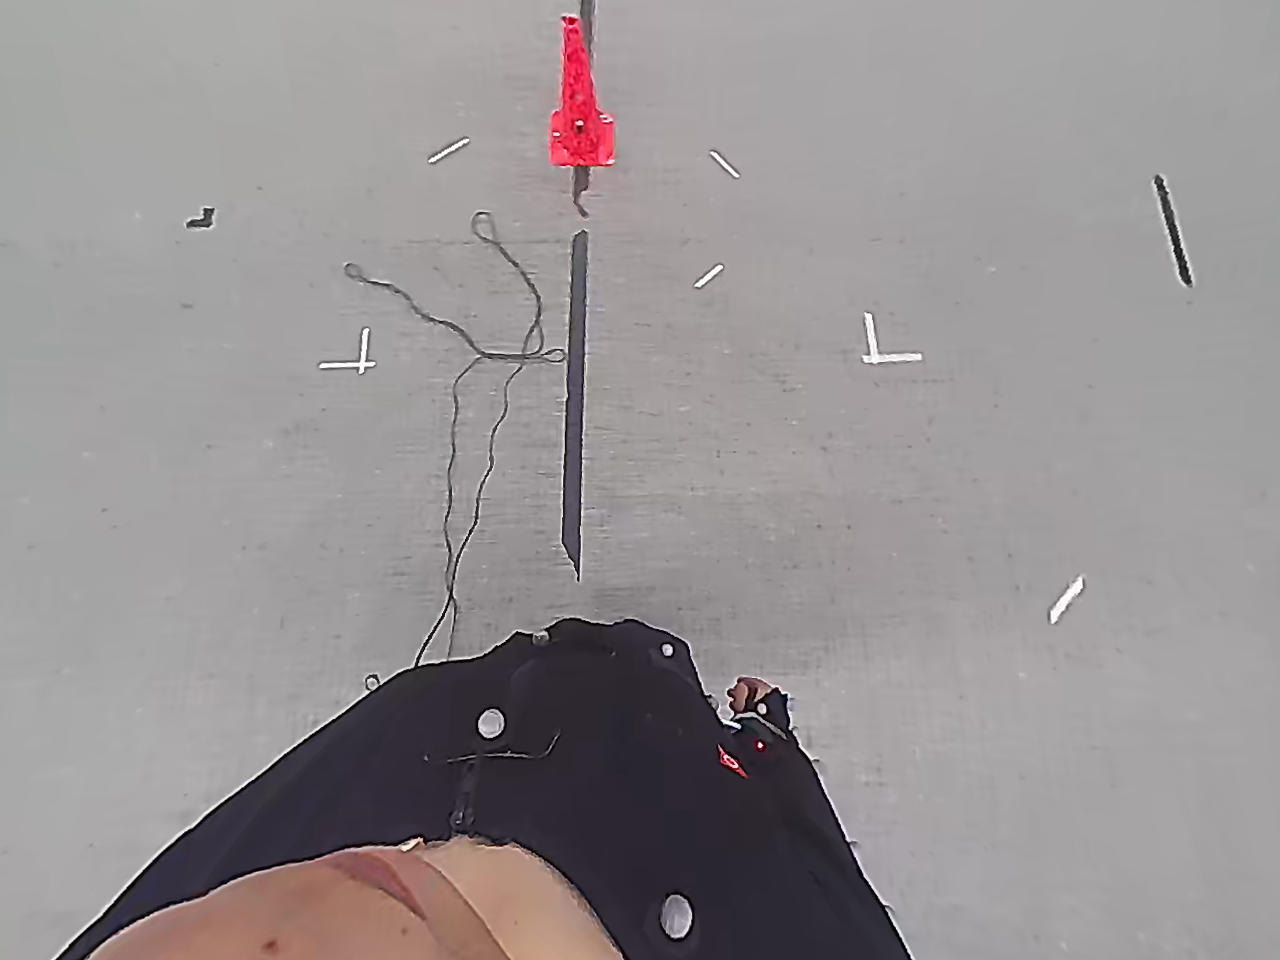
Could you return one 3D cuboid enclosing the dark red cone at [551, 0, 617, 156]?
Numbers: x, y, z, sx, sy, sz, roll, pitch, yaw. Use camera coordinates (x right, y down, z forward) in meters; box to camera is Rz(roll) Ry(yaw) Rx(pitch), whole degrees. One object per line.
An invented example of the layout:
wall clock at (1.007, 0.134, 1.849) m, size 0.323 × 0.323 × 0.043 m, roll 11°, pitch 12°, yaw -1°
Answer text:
dark red cone at (-0.170, -1.118, 1.495) m, size 0.201 × 0.394 × 0.202 m, roll -1°, pitch 78°, yaw -1°
